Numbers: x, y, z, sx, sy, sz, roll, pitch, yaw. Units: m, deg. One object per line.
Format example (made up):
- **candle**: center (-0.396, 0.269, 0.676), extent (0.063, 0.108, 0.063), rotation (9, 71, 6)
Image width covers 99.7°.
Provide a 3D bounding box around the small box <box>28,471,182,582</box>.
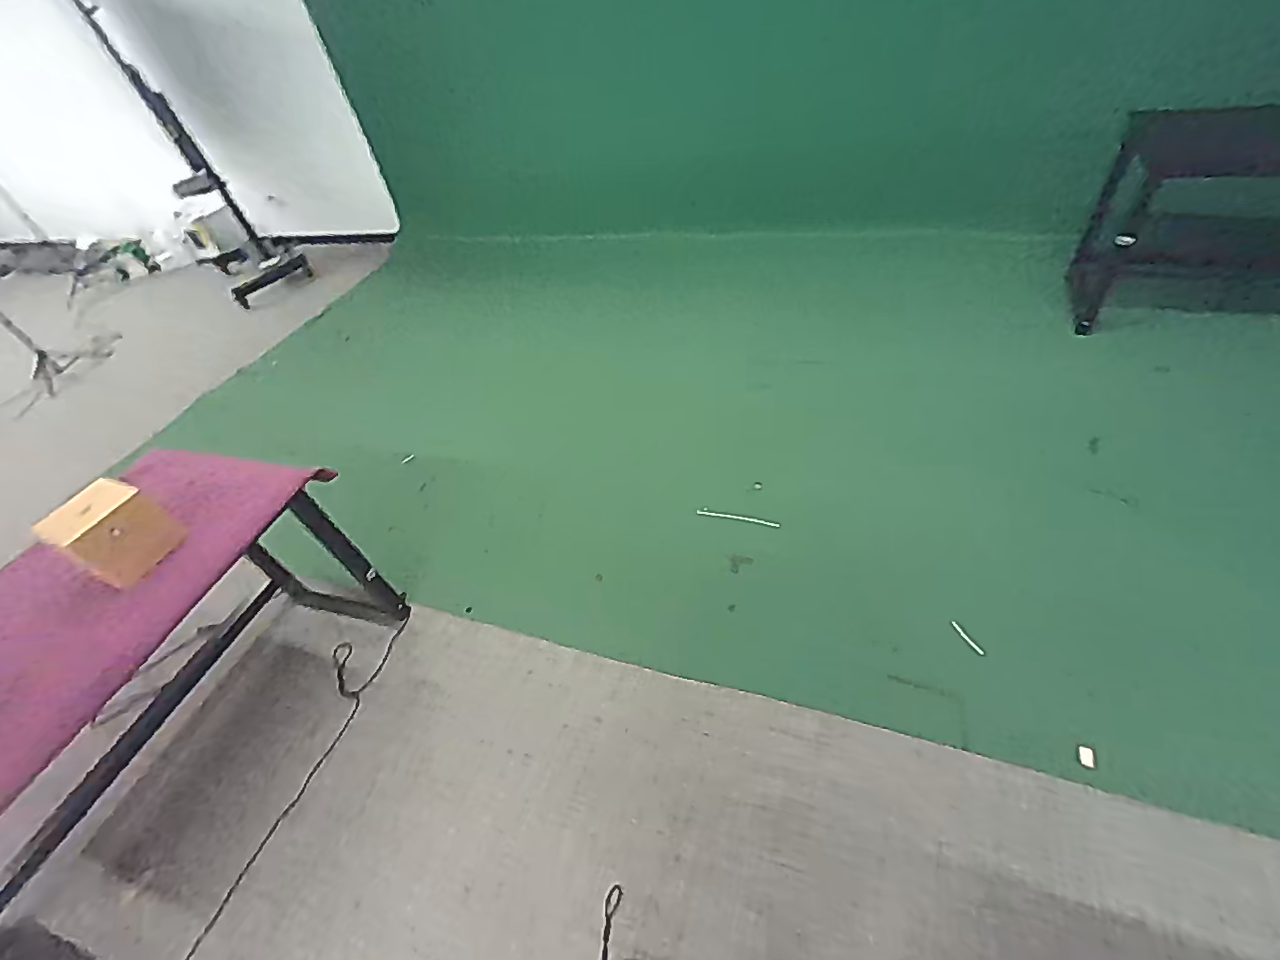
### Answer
- **small box**: center (-1.255, 0.111, 1.290), extent (0.168, 0.176, 0.179), rotation (13, 51, 21)
